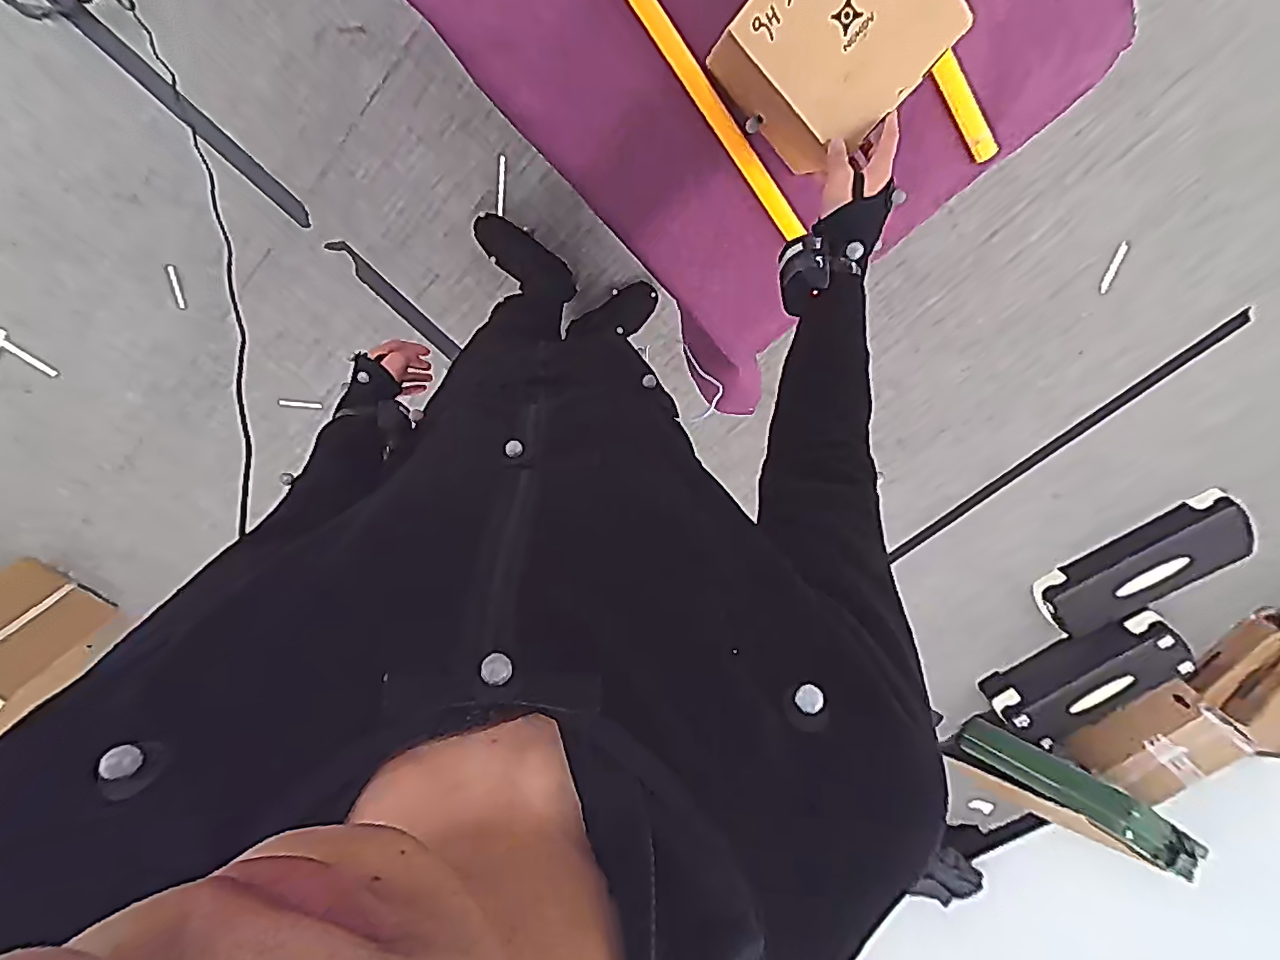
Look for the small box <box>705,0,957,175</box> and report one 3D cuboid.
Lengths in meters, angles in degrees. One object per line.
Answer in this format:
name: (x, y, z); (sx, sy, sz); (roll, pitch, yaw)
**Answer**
small box: (0.195, -0.472, 0.597); (0.179, 0.176, 0.168); (38, 111, -20)
